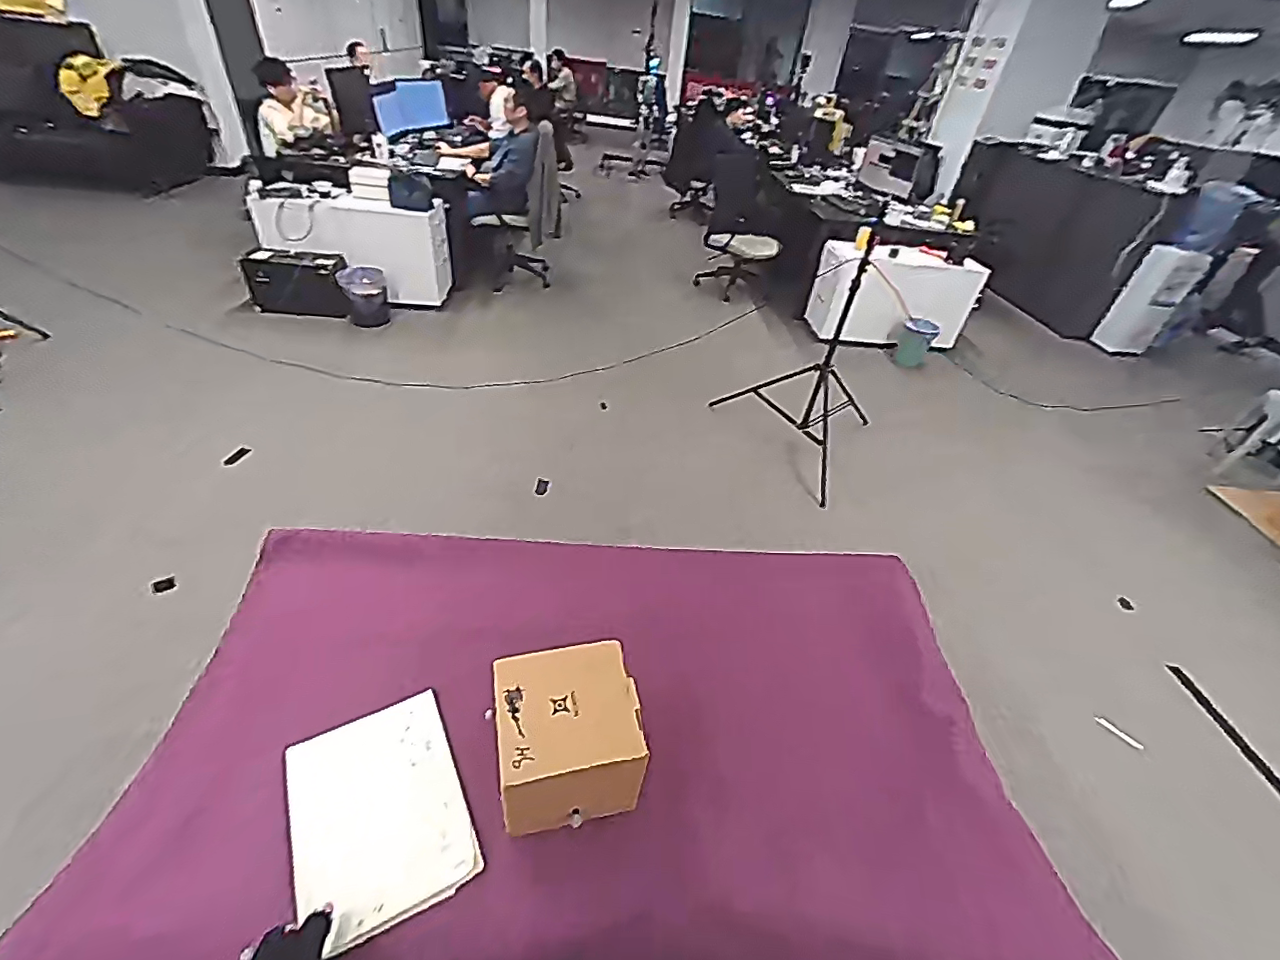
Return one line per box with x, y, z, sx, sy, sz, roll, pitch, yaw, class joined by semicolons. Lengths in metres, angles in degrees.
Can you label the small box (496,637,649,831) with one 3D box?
-0.101;0.342;0.735;0.179;0.176;0.168;-4;39;-16;small box
